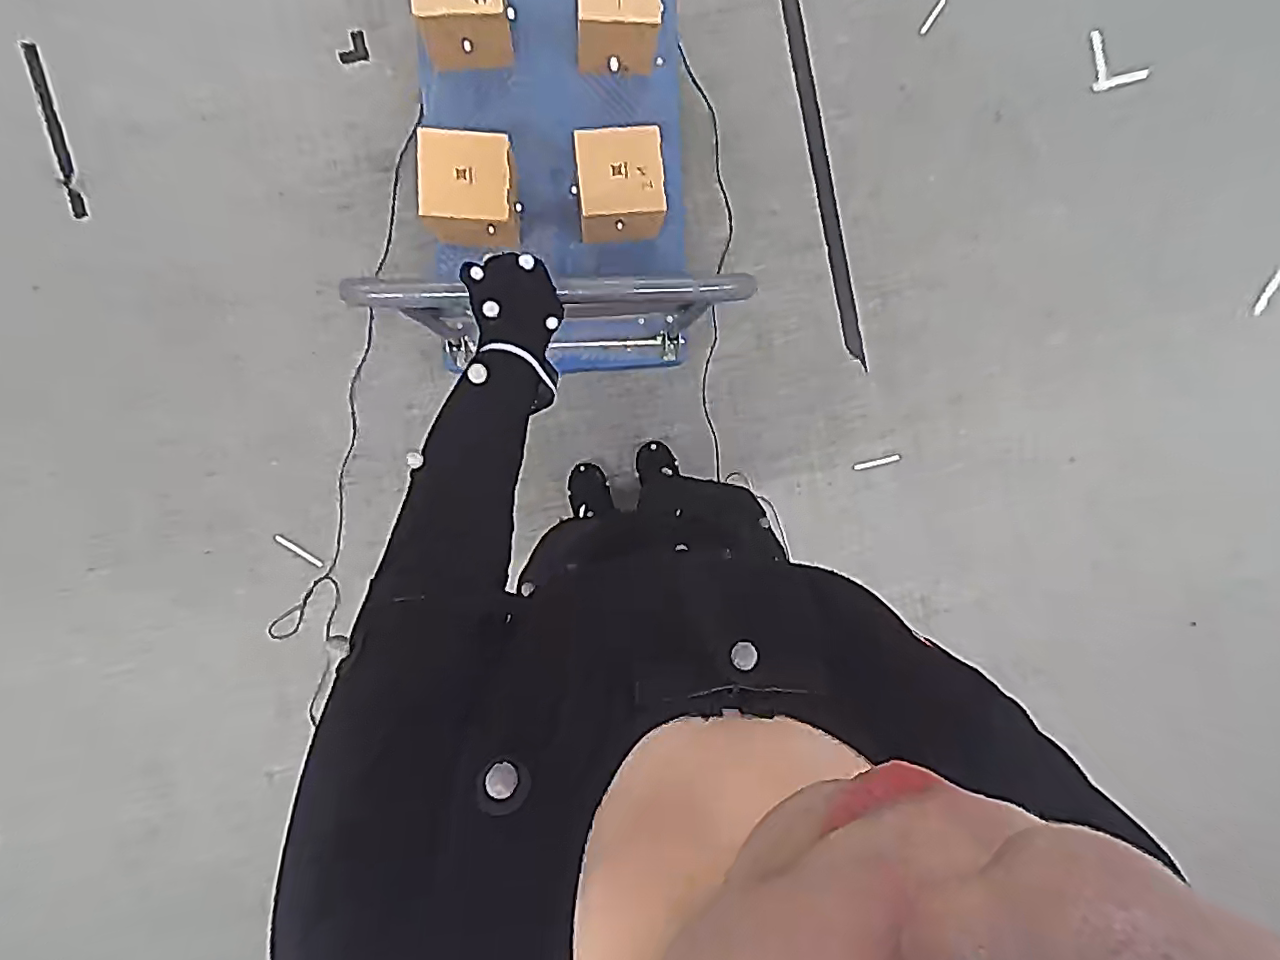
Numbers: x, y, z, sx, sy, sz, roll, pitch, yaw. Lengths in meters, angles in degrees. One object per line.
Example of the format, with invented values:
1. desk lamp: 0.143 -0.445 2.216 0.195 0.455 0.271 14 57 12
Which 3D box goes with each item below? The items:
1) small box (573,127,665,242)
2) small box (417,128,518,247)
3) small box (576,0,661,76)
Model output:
1. small box: -0.046 -0.628 1.166 0.179 0.176 0.168 -6 96 -5
2. small box: -0.354 -0.604 1.138 0.179 0.176 0.168 0 95 -7
3. small box: -0.049 -0.995 1.132 0.168 0.176 0.179 -1 97 -6
